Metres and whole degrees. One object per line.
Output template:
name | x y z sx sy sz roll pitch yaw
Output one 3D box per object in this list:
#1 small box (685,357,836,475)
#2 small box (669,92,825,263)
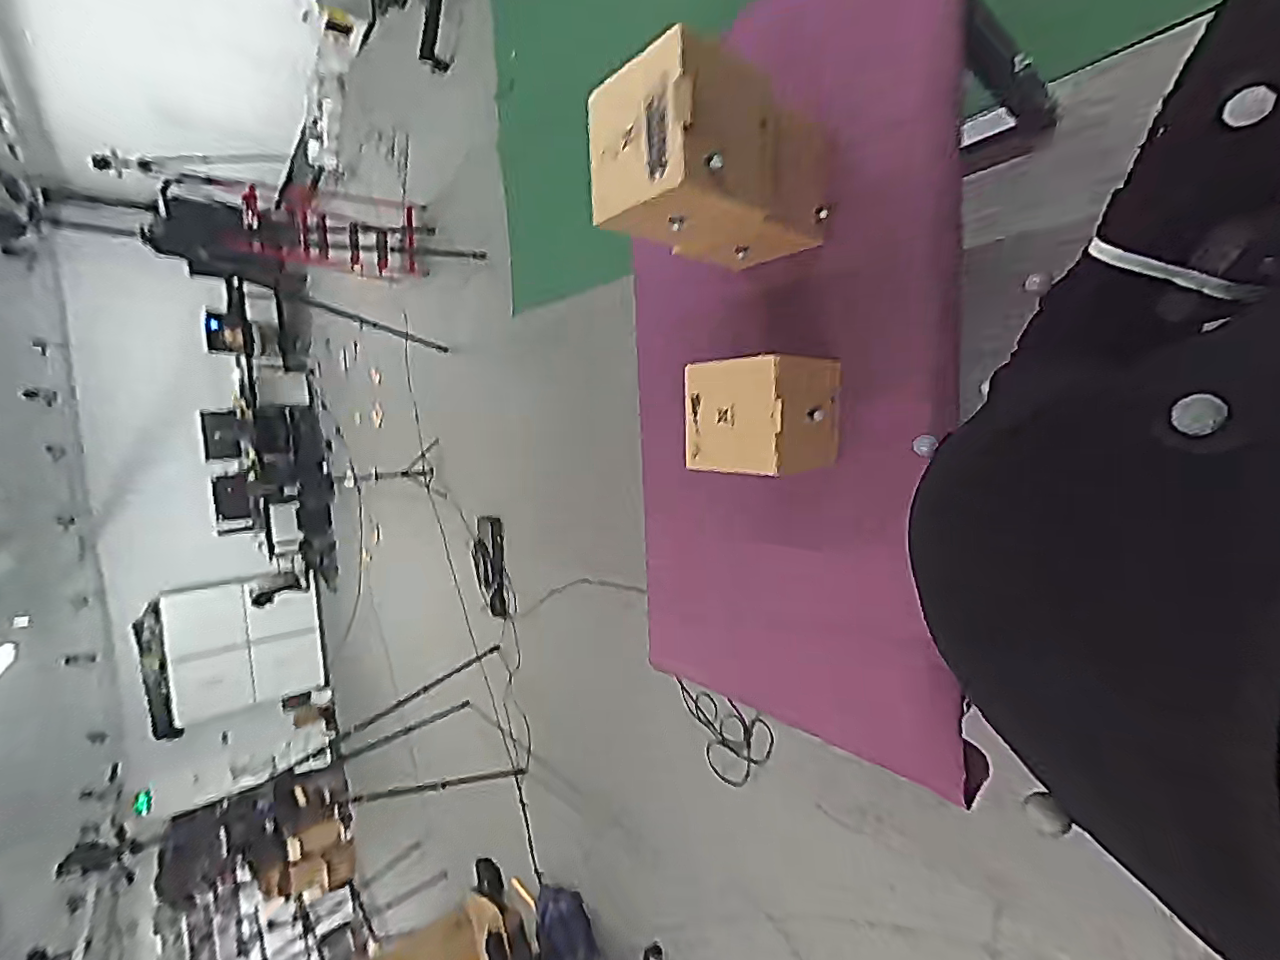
small box | 0.191 -0.104 0.855 0.179 0.176 0.168 7 101 48
small box | 0.164 -0.444 0.828 0.179 0.176 0.168 9 101 48
